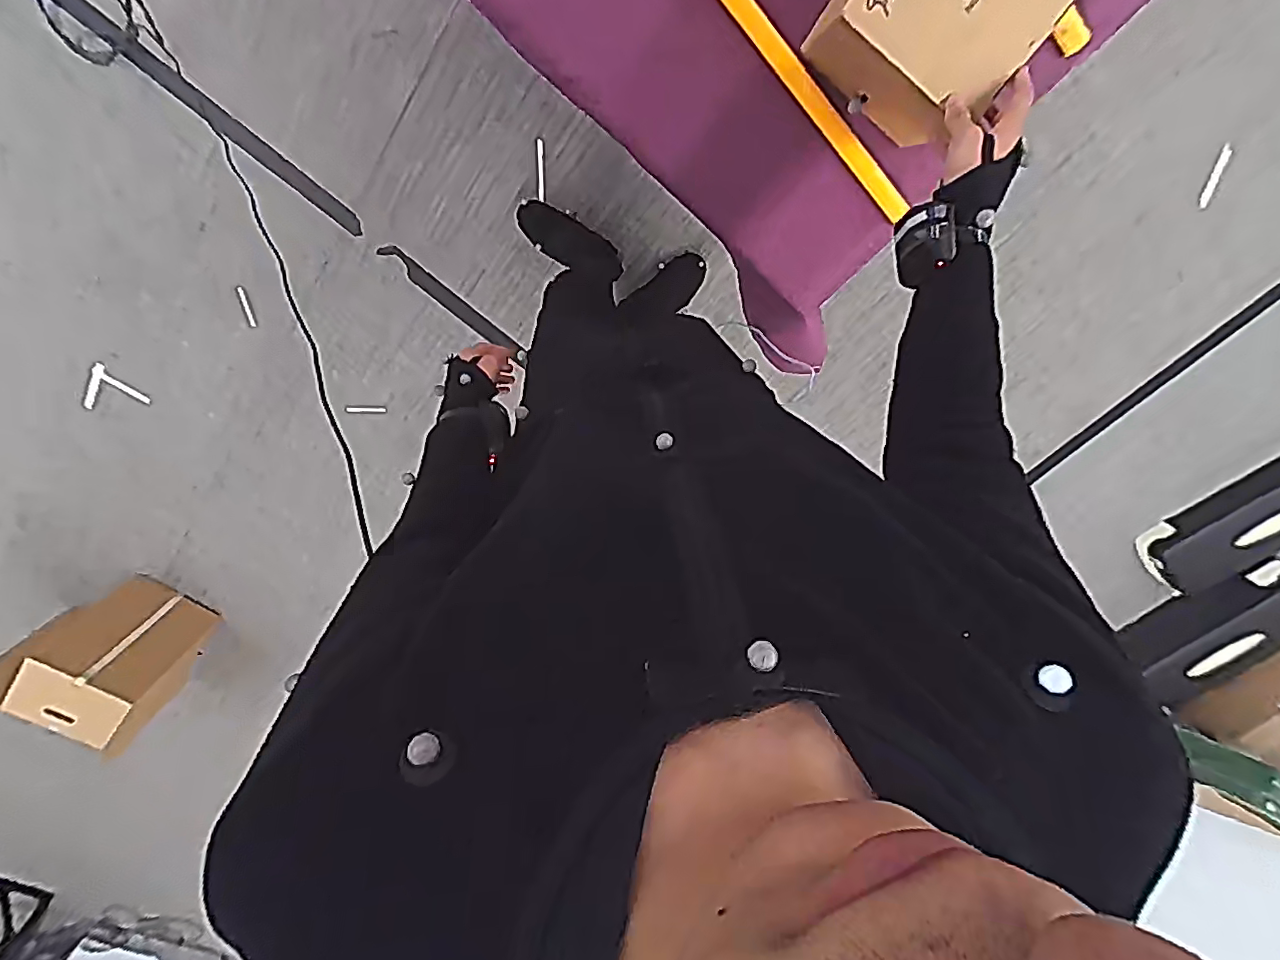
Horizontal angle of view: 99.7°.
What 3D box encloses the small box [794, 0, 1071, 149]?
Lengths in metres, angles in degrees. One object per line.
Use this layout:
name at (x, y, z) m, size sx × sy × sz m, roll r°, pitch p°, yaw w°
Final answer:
small box at (0.296, -0.486, 0.576) m, size 0.179 × 0.176 × 0.168 m, roll 31°, pitch 115°, yaw -15°
